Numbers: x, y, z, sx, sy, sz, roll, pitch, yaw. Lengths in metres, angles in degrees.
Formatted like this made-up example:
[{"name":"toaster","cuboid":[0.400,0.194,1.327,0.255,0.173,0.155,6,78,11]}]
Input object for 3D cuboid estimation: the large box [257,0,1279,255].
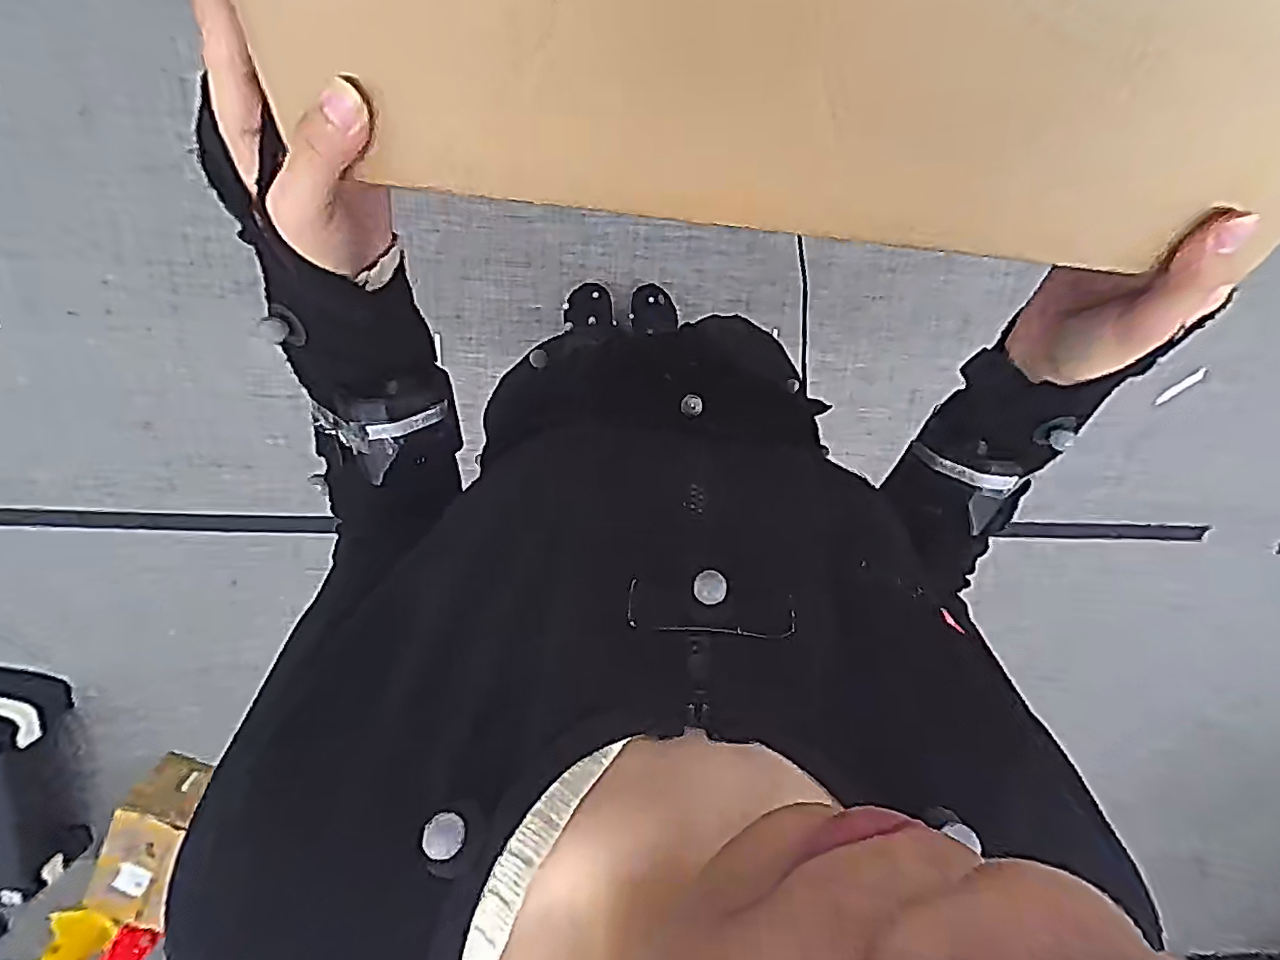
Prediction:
[{"name":"large box","cuboid":[0.077,-0.324,0.218,0.408,0.320,0.320,4,140,-3]}]
